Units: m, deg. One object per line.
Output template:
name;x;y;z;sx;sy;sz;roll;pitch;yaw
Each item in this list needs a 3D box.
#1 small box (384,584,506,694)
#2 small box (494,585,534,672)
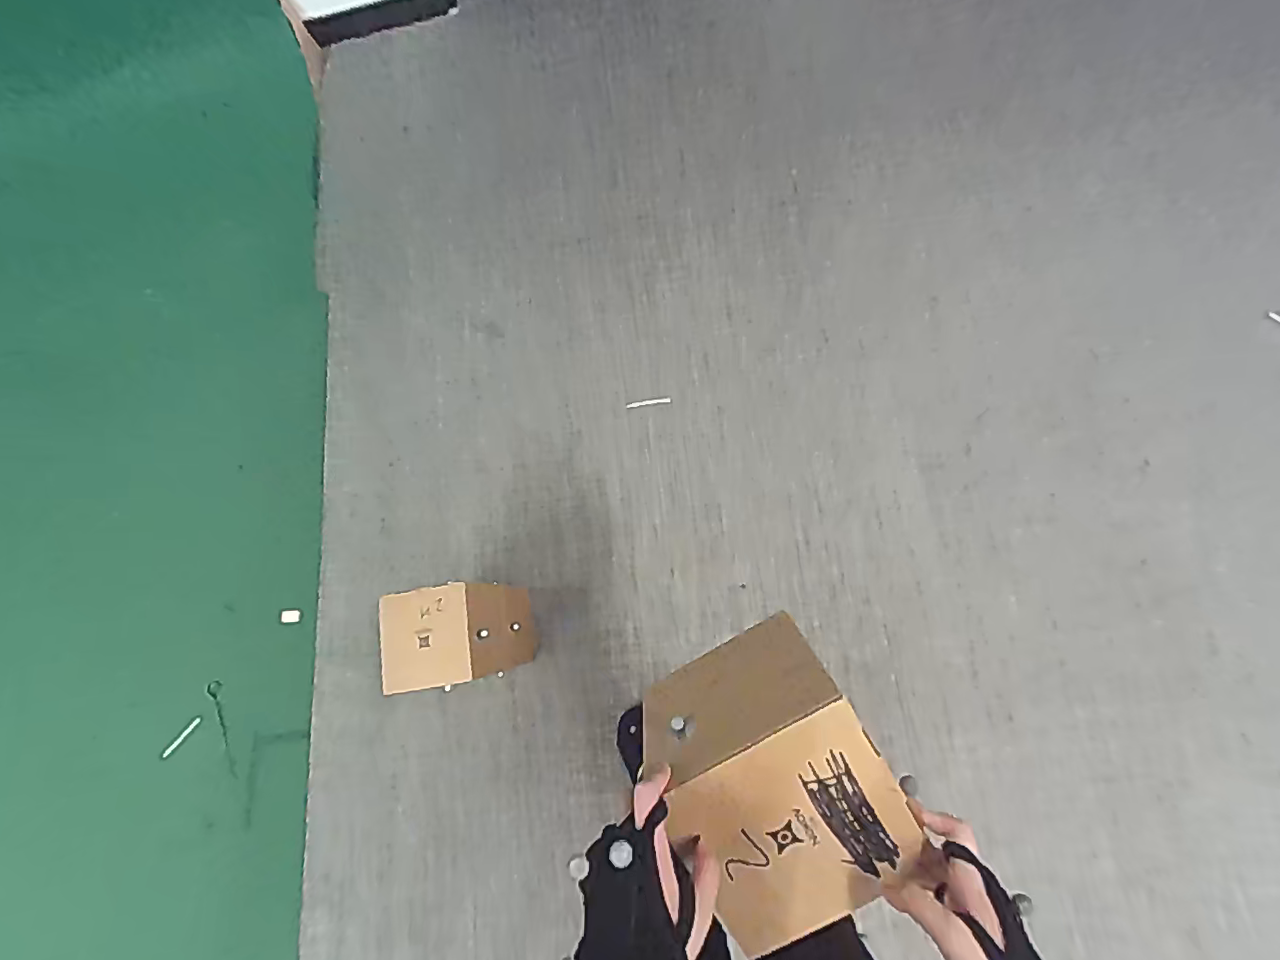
small box;-0.369;0.300;1.045;0.168;0.176;0.179;-10;76;5
small box;-0.344;0.333;1.204;0.168;0.176;0.179;-9;76;6
